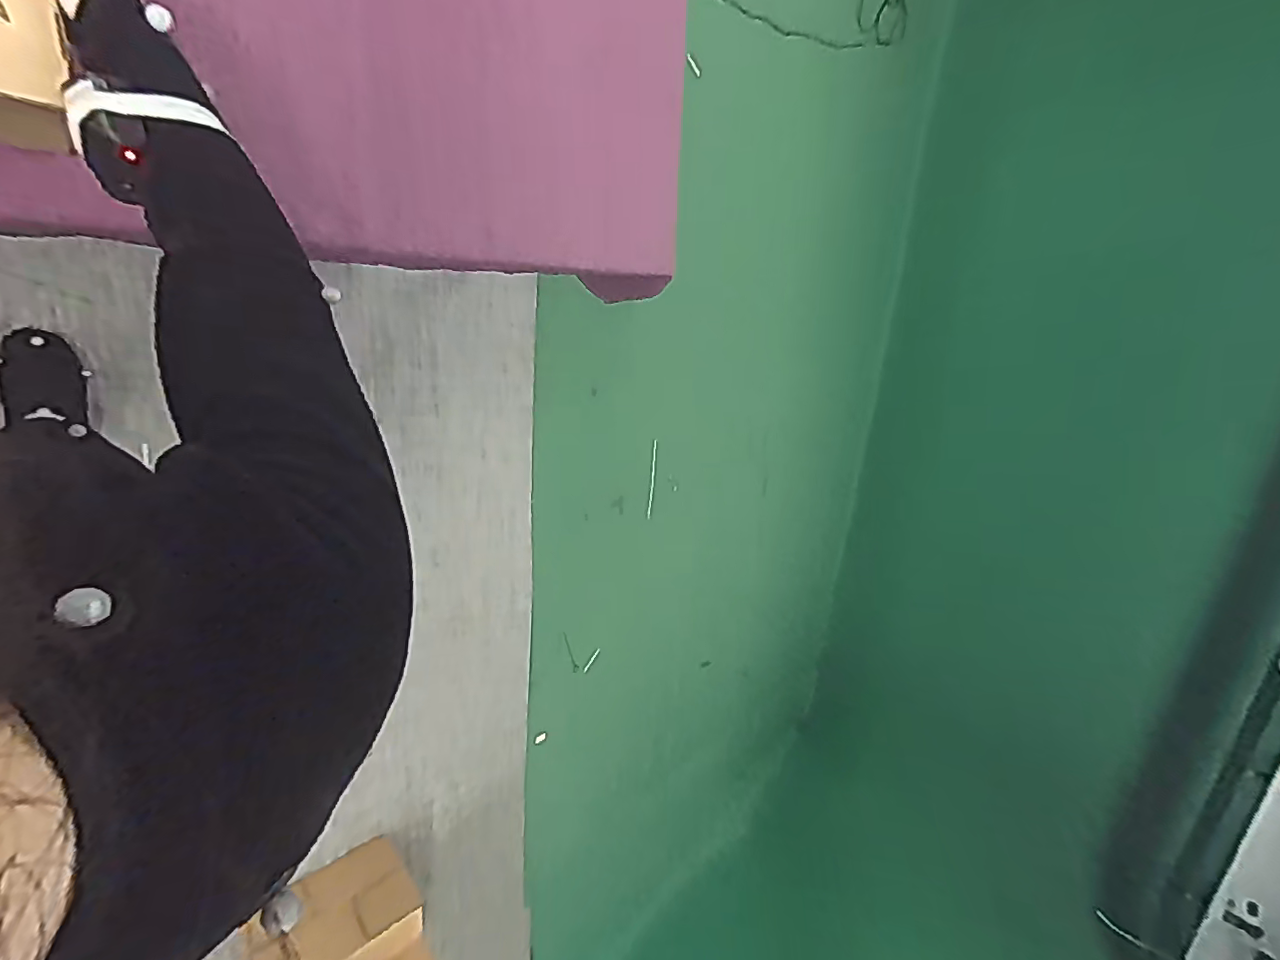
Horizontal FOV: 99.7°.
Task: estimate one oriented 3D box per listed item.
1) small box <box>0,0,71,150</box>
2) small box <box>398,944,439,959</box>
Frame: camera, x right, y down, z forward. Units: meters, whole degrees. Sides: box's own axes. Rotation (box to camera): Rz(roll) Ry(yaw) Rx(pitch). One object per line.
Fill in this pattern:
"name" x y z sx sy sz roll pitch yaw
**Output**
"small box" -0.512 -0.338 0.353 0.179 0.176 0.168 -13 112 -46
"small box" -0.651 1.484 1.536 0.168 0.176 0.179 -9 113 -47
